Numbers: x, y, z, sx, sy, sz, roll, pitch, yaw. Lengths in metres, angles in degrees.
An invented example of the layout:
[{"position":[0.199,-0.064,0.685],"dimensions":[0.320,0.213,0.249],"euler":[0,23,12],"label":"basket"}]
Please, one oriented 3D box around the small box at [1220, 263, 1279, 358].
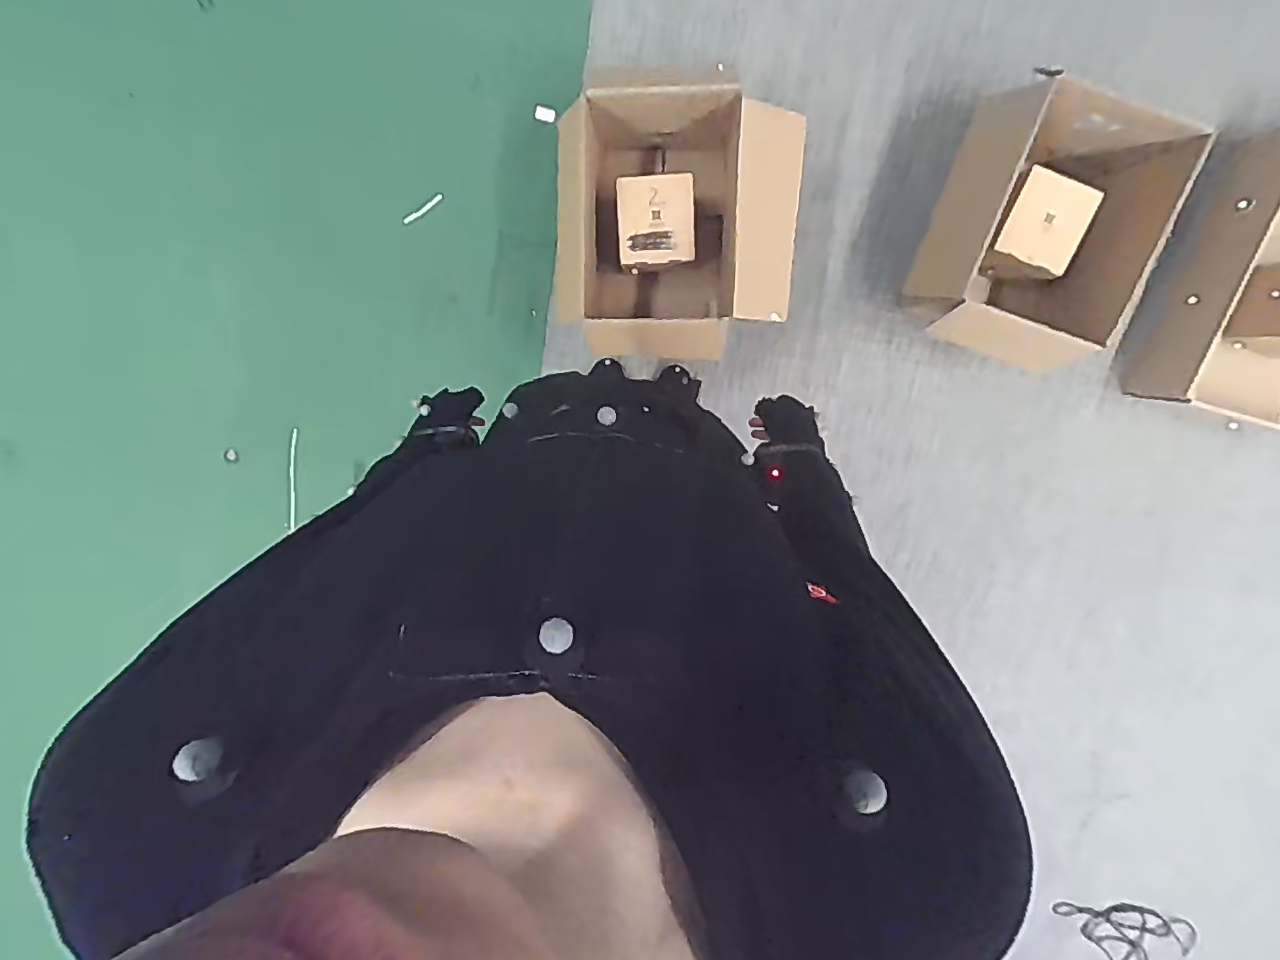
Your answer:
[{"position":[1.483,-0.379,1.211],"dimensions":[0.168,0.176,0.179],"euler":[17,102,-3],"label":"small box"}]
